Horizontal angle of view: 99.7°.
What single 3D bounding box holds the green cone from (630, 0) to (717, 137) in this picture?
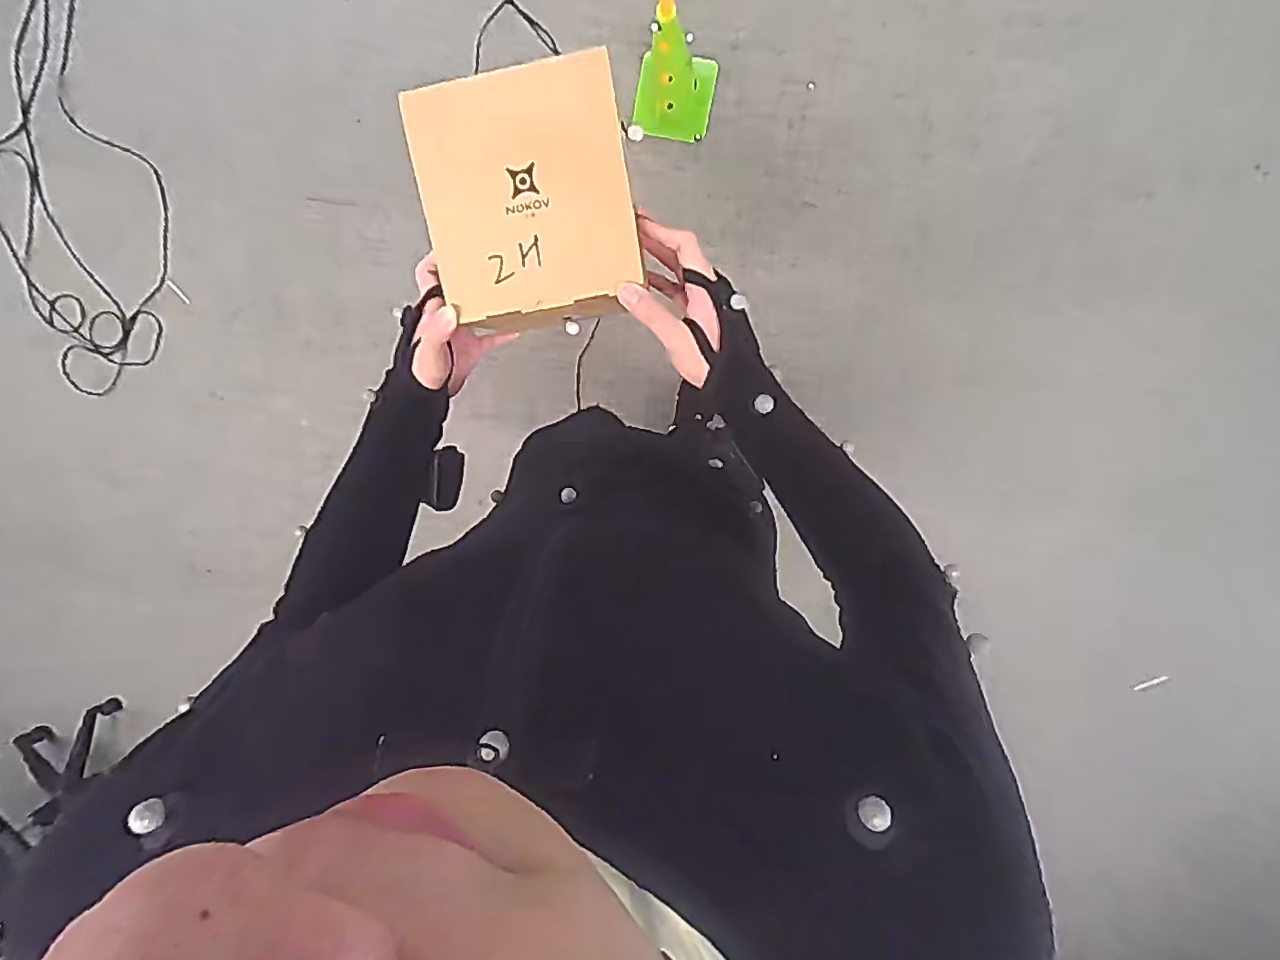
[{"bbox_3d":[0.064,-0.978,1.230,0.202,0.368,0.200,12,101,5],"label":"green cone"}]
